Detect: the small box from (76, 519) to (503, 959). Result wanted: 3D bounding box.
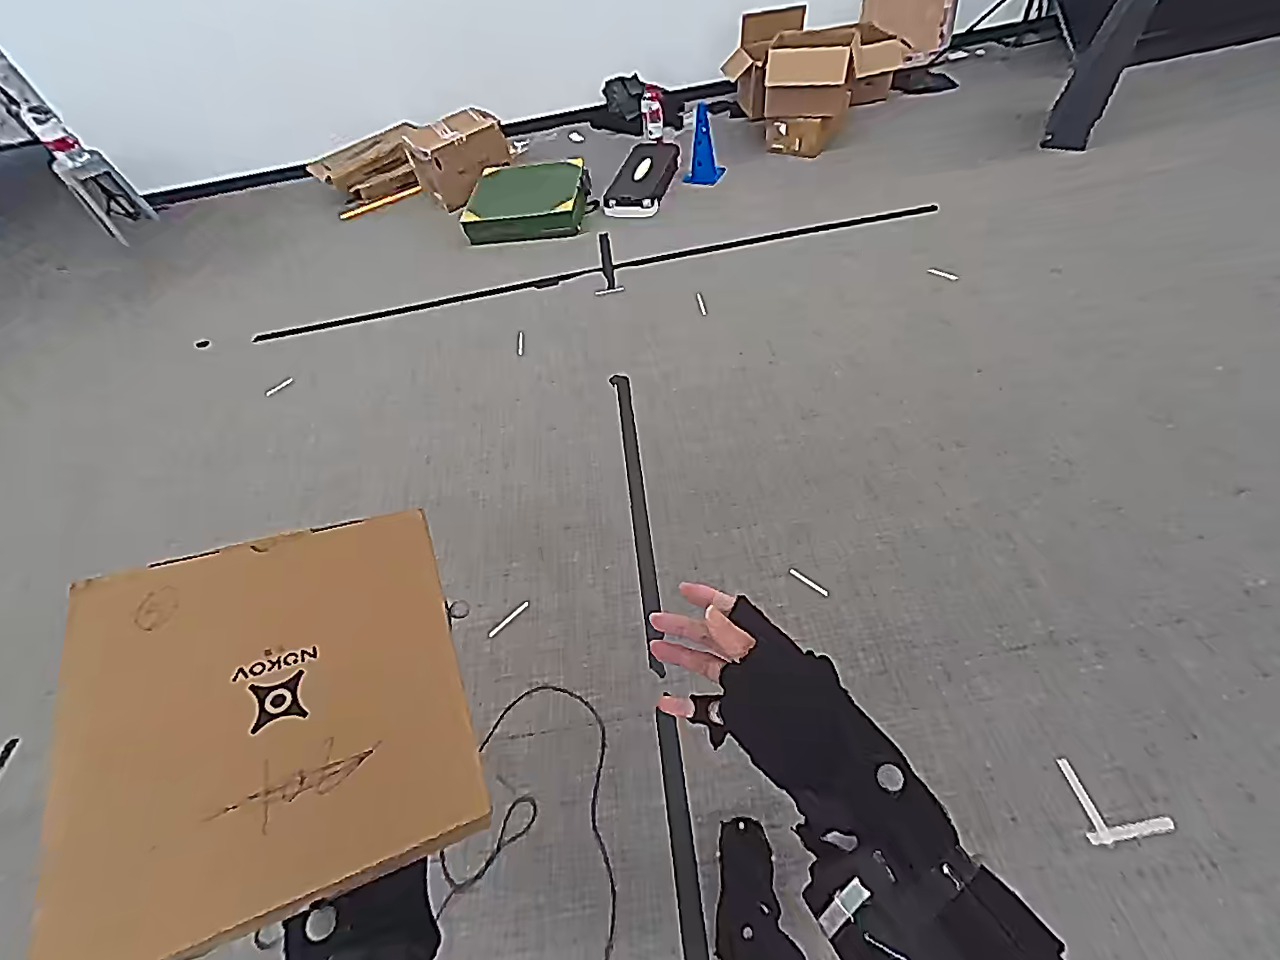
[{"bbox_3d":[-0.191,0.153,0.340,0.168,0.176,0.179,-12,60,-23],"label":"small box"}]
